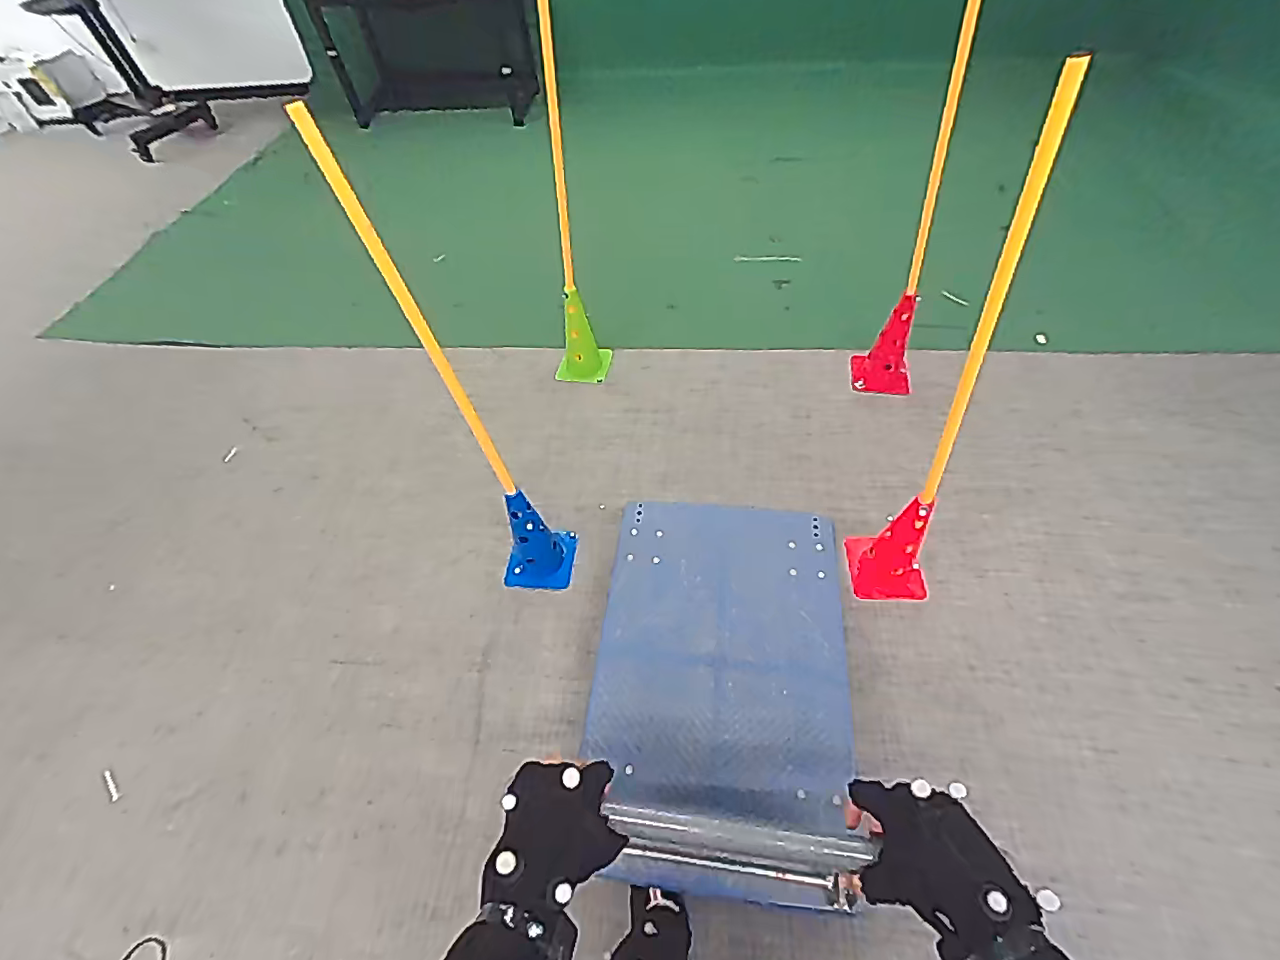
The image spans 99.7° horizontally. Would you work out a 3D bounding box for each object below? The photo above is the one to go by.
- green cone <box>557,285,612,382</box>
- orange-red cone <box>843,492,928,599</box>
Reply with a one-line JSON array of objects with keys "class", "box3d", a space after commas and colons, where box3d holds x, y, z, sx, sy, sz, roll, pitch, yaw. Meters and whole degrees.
[{"class": "green cone", "box3d": [-0.235, -0.571, 2.046, 0.202, 0.368, 0.200, 5, 53, 9]}, {"class": "orange-red cone", "box3d": [0.687, 0.151, 1.438, 0.199, 0.360, 0.198, 1, 53, 7]}]
